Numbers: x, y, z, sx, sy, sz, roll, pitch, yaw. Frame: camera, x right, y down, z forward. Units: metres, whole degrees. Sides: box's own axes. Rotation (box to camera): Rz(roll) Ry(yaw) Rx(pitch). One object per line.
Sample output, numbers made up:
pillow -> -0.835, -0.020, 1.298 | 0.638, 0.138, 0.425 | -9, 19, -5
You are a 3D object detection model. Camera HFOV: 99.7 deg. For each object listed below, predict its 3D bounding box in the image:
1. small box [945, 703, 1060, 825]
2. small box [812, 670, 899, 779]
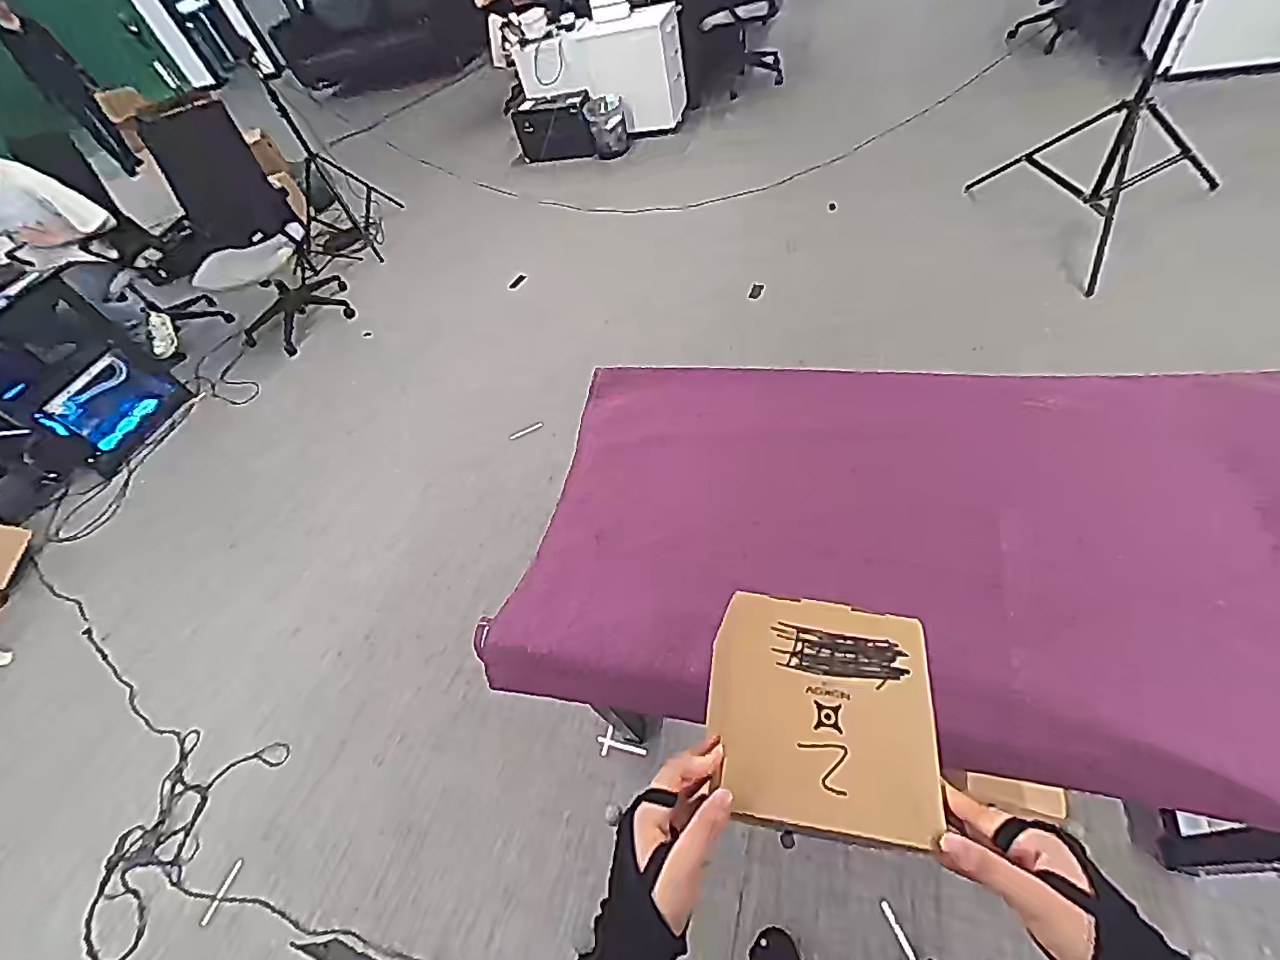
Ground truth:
small box -> 0.764, 0.608, 1.153 | 0.168, 0.176, 0.179 | 9, 55, 21
small box -> 0.494, 0.569, 1.250 | 0.168, 0.176, 0.179 | 7, 55, 19
